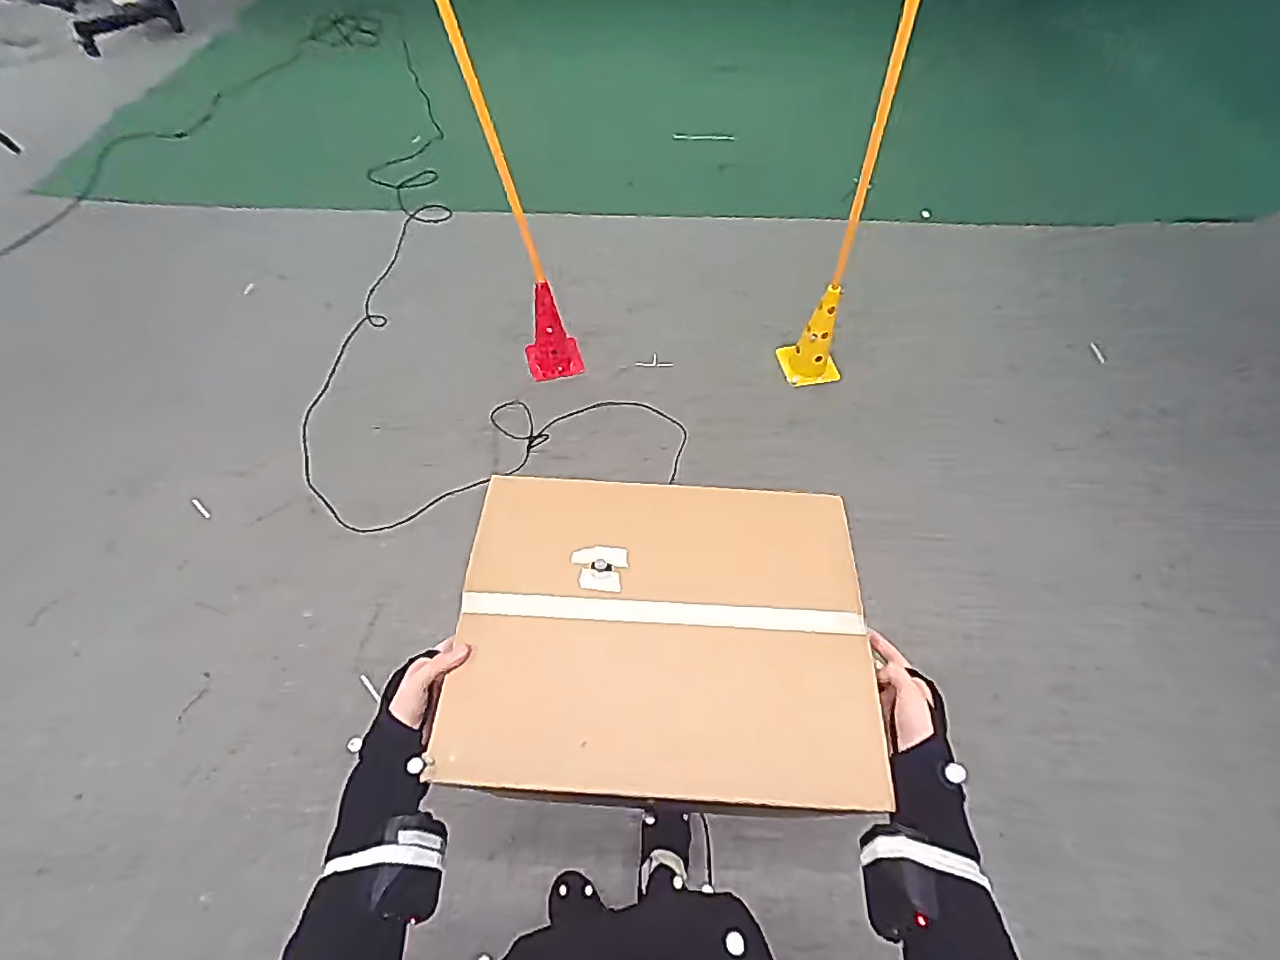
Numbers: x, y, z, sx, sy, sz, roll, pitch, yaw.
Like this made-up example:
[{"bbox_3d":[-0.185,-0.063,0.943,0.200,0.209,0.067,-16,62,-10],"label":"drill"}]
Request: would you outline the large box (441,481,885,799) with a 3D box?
[{"bbox_3d":[0.027,0.216,0.682,0.408,0.320,0.320,3,57,2],"label":"large box"}]
